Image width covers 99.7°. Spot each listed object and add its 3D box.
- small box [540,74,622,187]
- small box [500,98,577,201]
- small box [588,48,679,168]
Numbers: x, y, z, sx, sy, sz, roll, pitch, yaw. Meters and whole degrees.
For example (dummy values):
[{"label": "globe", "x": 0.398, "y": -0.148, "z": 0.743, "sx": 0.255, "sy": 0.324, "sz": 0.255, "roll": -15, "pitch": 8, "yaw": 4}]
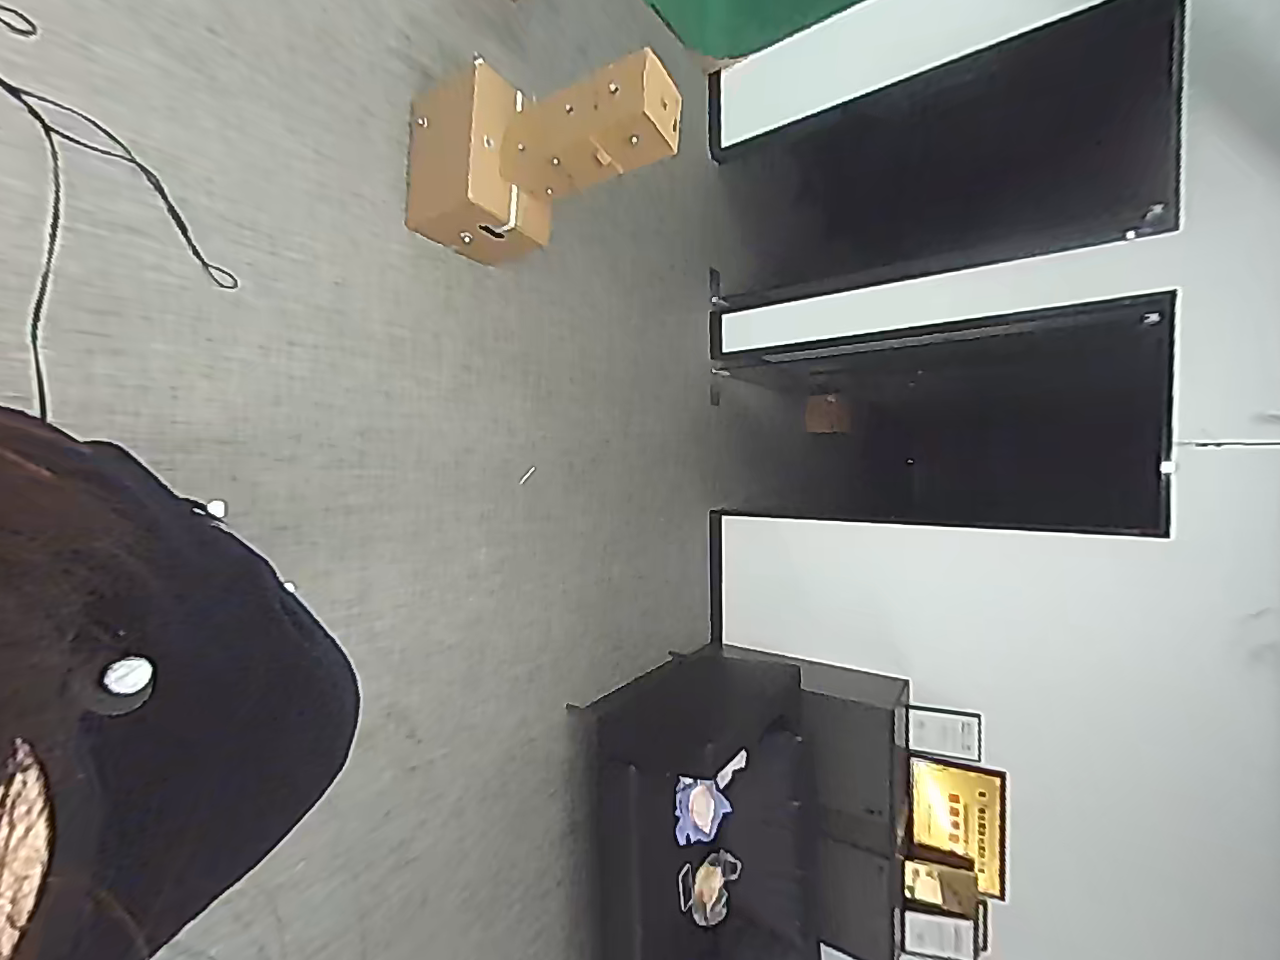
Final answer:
[{"label": "small box", "x": -0.157, "y": -0.951, "z": 1.492, "sx": 0.168, "sy": 0.176, "sz": 0.179, "roll": 15, "pitch": 77, "yaw": -56}, {"label": "small box", "x": -0.292, "y": -0.956, "z": 1.586, "sx": 0.168, "sy": 0.176, "sz": 0.179, "roll": 13, "pitch": 80, "yaw": -56}, {"label": "small box", "x": -0.018, "y": -0.951, "z": 1.404, "sx": 0.179, "sy": 0.176, "sz": 0.168, "roll": 13, "pitch": 81, "yaw": -56}]
